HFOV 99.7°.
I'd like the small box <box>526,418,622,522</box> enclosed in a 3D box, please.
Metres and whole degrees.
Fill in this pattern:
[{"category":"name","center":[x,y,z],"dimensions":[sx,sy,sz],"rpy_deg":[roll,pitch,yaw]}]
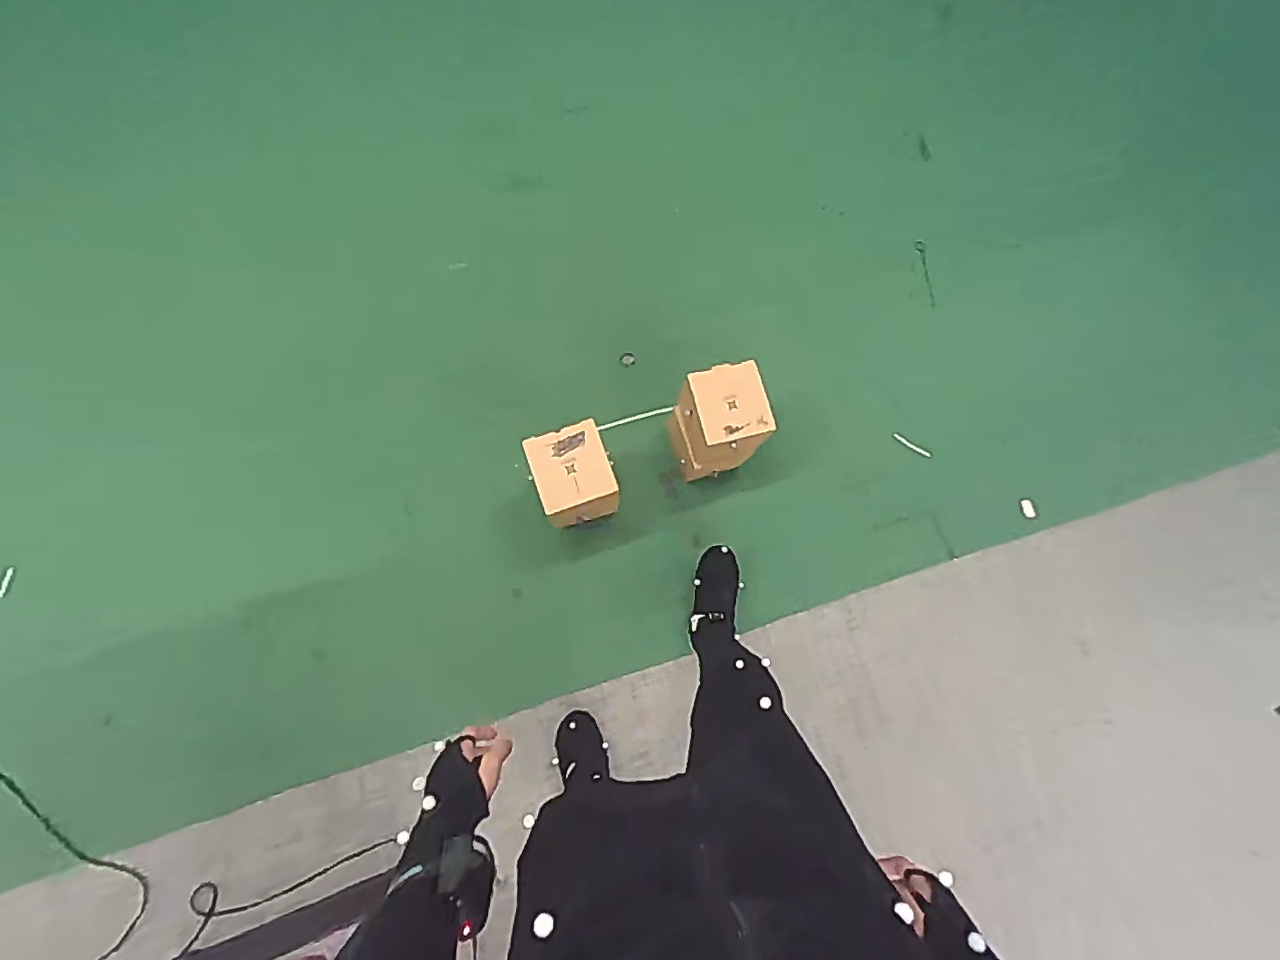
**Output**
[{"category":"small box","center":[-0.148,-0.016,1.237],"dimensions":[0.168,0.176,0.179],"rpy_deg":[-19,81,-6]}]

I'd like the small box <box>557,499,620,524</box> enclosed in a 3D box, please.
[{"category":"small box","center":[-0.151,0.009,1.401],"dimensions":[0.168,0.176,0.179],"rpy_deg":[-16,79,-6]}]

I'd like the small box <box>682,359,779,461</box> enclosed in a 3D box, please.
[{"category":"small box","center":[0.205,-0.161,1.287],"dimensions":[0.168,0.176,0.179],"rpy_deg":[-13,79,-6]}]
